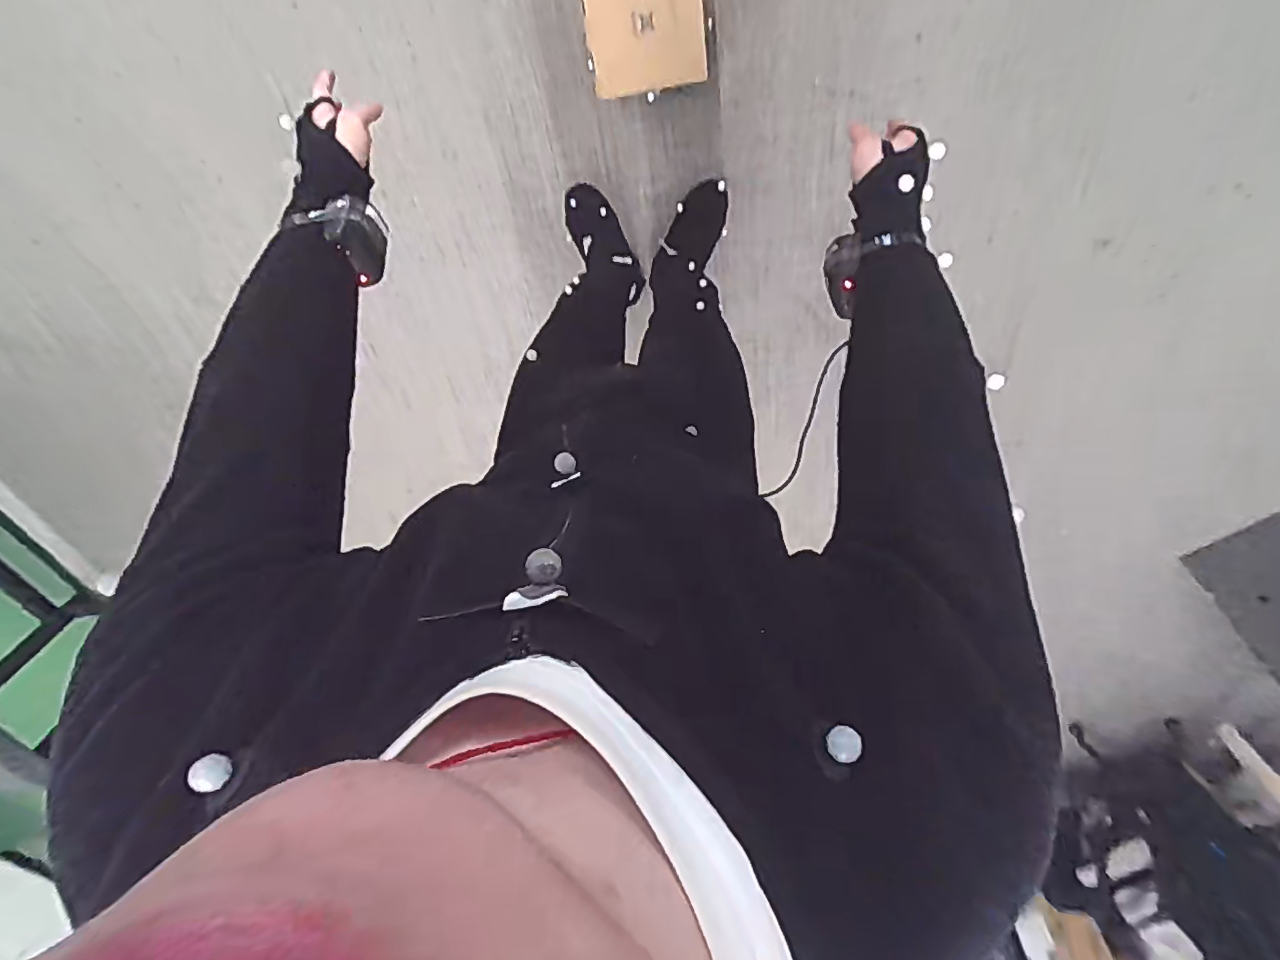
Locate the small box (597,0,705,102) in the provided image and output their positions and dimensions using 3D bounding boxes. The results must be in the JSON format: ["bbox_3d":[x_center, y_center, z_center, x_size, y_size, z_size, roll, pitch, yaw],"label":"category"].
[{"bbox_3d":[0.024,-0.816,1.001,0.179,0.176,0.168,-5,126,7],"label":"small box"}]
